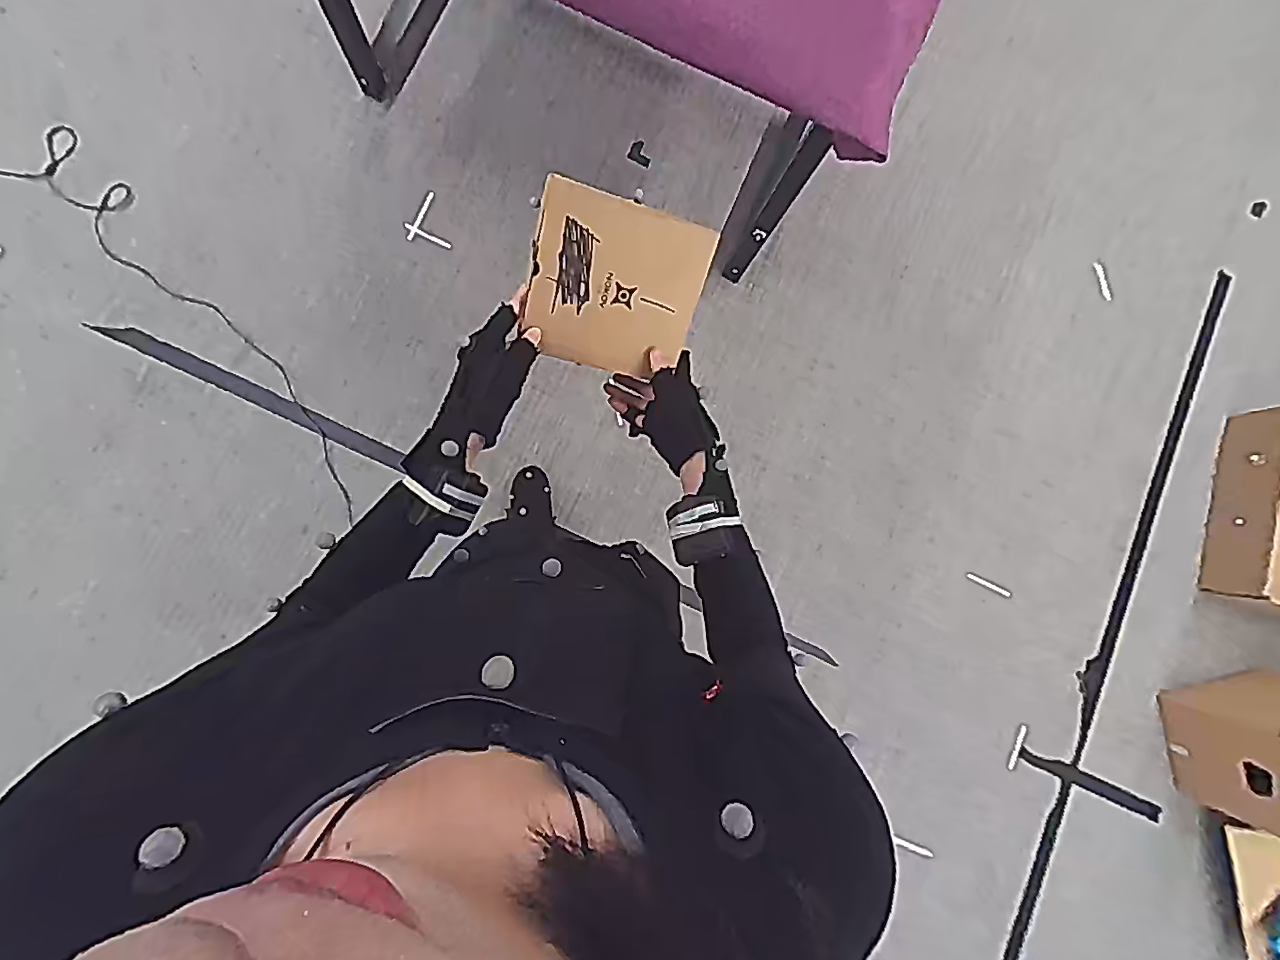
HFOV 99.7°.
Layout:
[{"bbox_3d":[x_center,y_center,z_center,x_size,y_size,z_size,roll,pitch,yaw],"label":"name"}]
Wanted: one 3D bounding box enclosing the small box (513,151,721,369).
[{"bbox_3d":[-0.037,-0.245,0.607,0.179,0.176,0.168,11,117,-16],"label":"small box"}]
